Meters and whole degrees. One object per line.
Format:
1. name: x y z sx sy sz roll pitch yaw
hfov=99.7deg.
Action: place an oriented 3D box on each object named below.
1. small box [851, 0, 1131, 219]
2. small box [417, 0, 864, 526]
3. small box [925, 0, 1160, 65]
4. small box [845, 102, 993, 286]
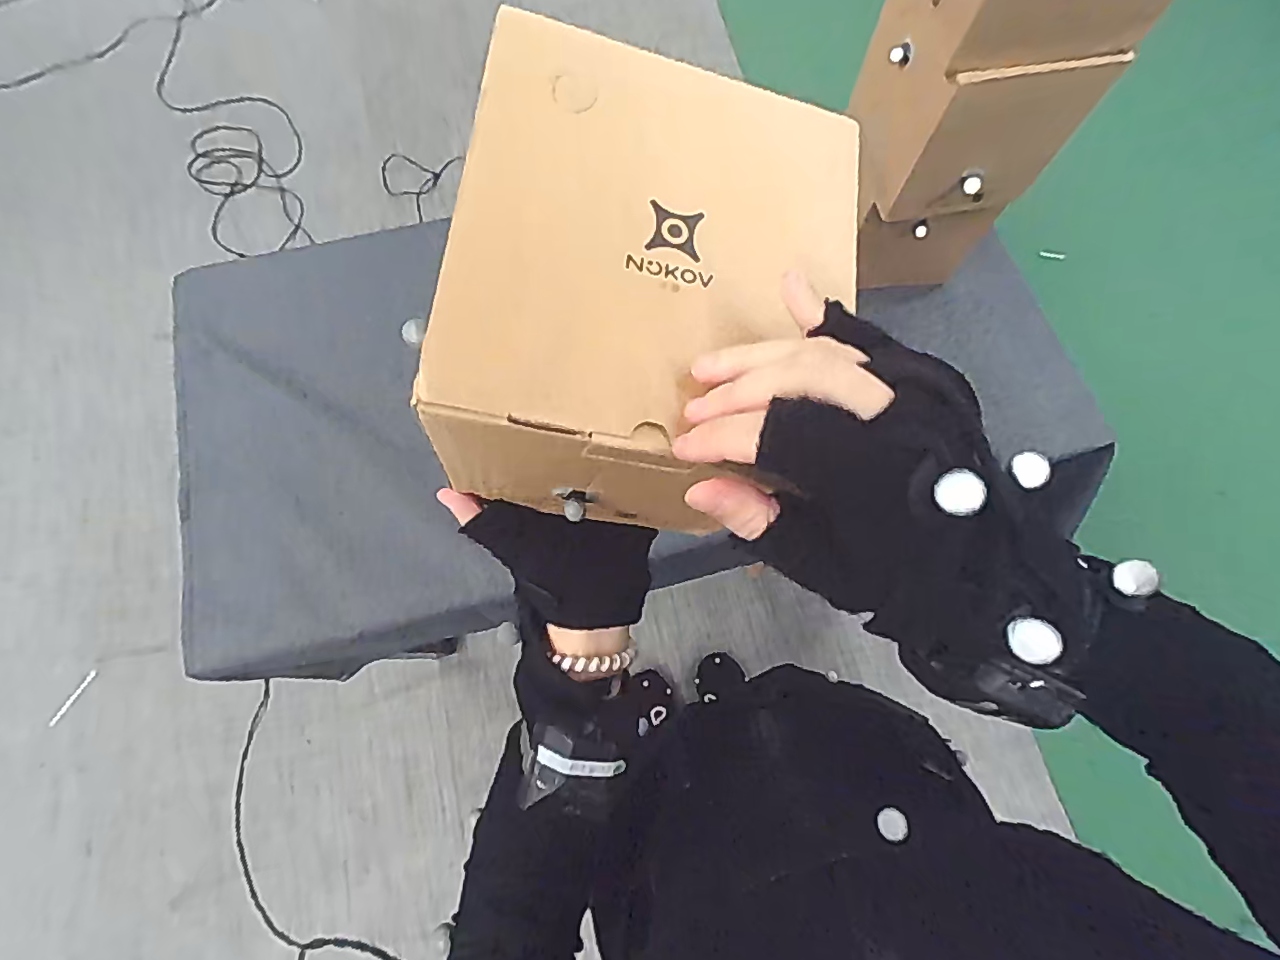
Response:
1. small box: 0.350 -0.419 0.583 0.168 0.176 0.179 -9 73 -1
2. small box: -0.005 -0.080 0.288 0.168 0.176 0.179 9 77 -12
3. small box: 0.342 -0.471 0.429 0.179 0.176 0.168 -6 73 -1
4. small box: 0.358 -0.387 0.745 0.179 0.176 0.168 -2 72 0
